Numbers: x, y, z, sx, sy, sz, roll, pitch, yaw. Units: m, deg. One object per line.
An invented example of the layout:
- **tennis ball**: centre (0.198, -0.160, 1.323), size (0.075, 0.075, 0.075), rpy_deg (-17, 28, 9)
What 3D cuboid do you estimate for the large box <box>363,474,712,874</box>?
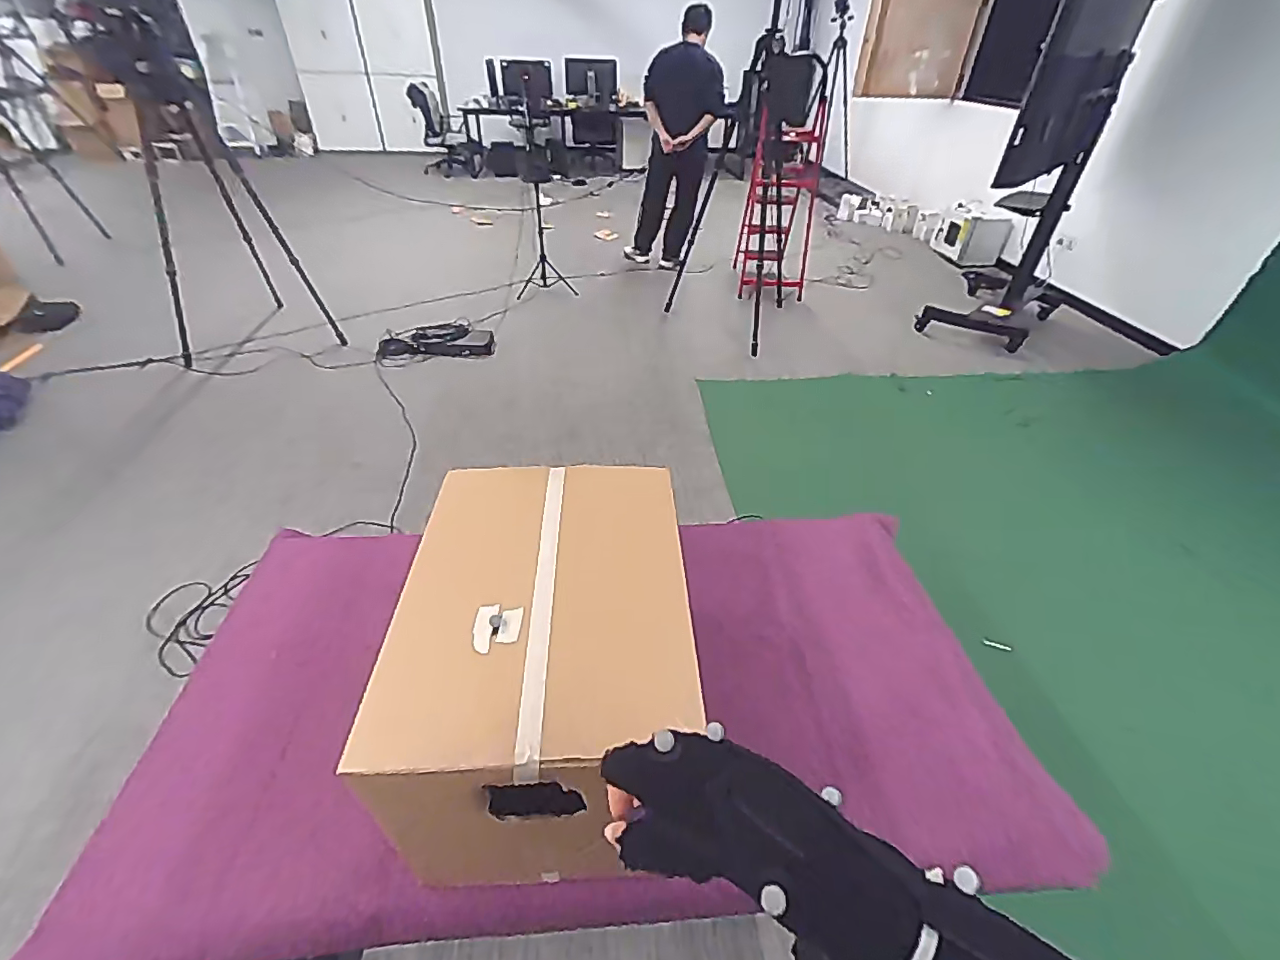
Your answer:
- **large box**: centre (-0.106, 0.236, 0.716), size (0.320, 0.320, 0.408), rpy_deg (0, 40, -3)
